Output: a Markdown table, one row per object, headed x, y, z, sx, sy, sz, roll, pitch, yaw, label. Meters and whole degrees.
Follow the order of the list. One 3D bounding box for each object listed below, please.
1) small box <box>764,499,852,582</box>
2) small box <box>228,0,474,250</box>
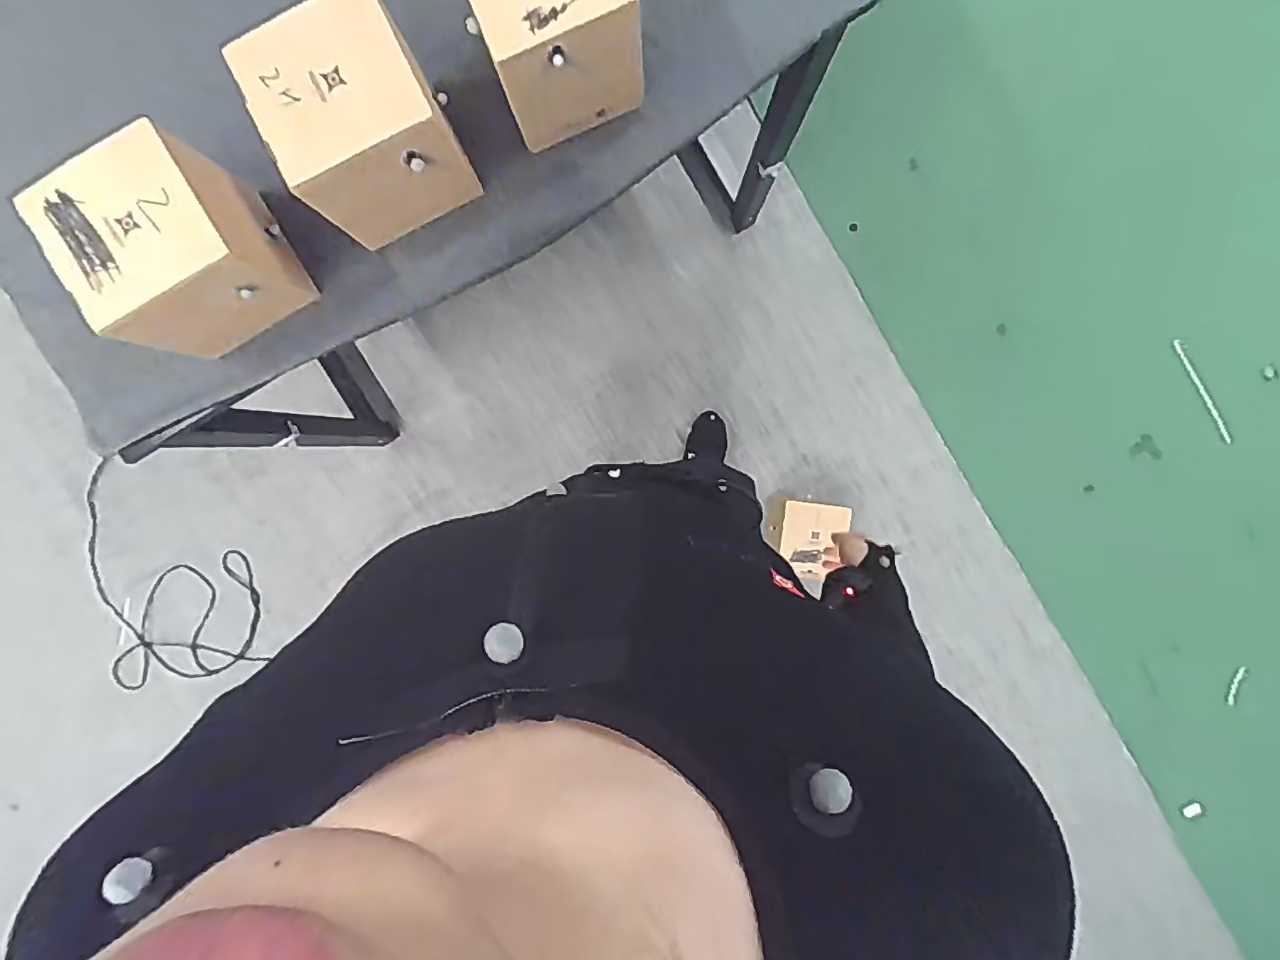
| x | y | z | sx | sy | sz | roll | pitch | yaw | label |
| --- | --- | --- | --- | --- | --- | --- | --- | --- | --- |
| 0.426 | 0.150 | 1.402 | 0.168 | 0.176 | 0.179 | 8 | 93 | 0 | small box |
| -0.321 | -0.412 | 0.646 | 0.179 | 0.176 | 0.168 | -26 | 91 | 3 | small box |
